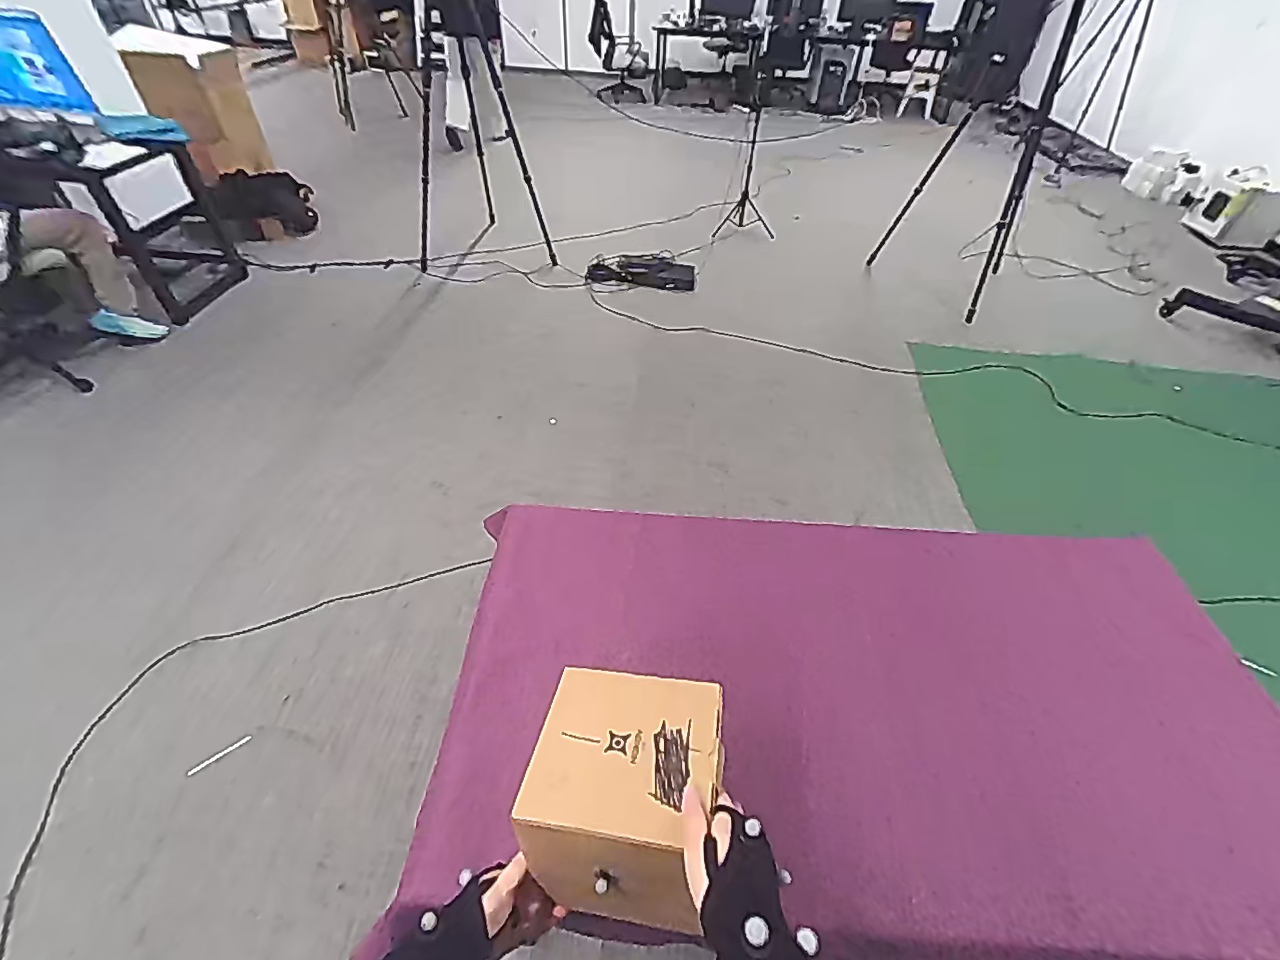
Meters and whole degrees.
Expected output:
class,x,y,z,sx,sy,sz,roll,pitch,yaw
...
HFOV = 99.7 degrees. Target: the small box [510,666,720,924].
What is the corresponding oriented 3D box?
class,x,y,z,sx,sy,sz,roll,pitch,yaw
small box,-0.011,0.325,0.567,0.179,0.176,0.168,3,32,11
